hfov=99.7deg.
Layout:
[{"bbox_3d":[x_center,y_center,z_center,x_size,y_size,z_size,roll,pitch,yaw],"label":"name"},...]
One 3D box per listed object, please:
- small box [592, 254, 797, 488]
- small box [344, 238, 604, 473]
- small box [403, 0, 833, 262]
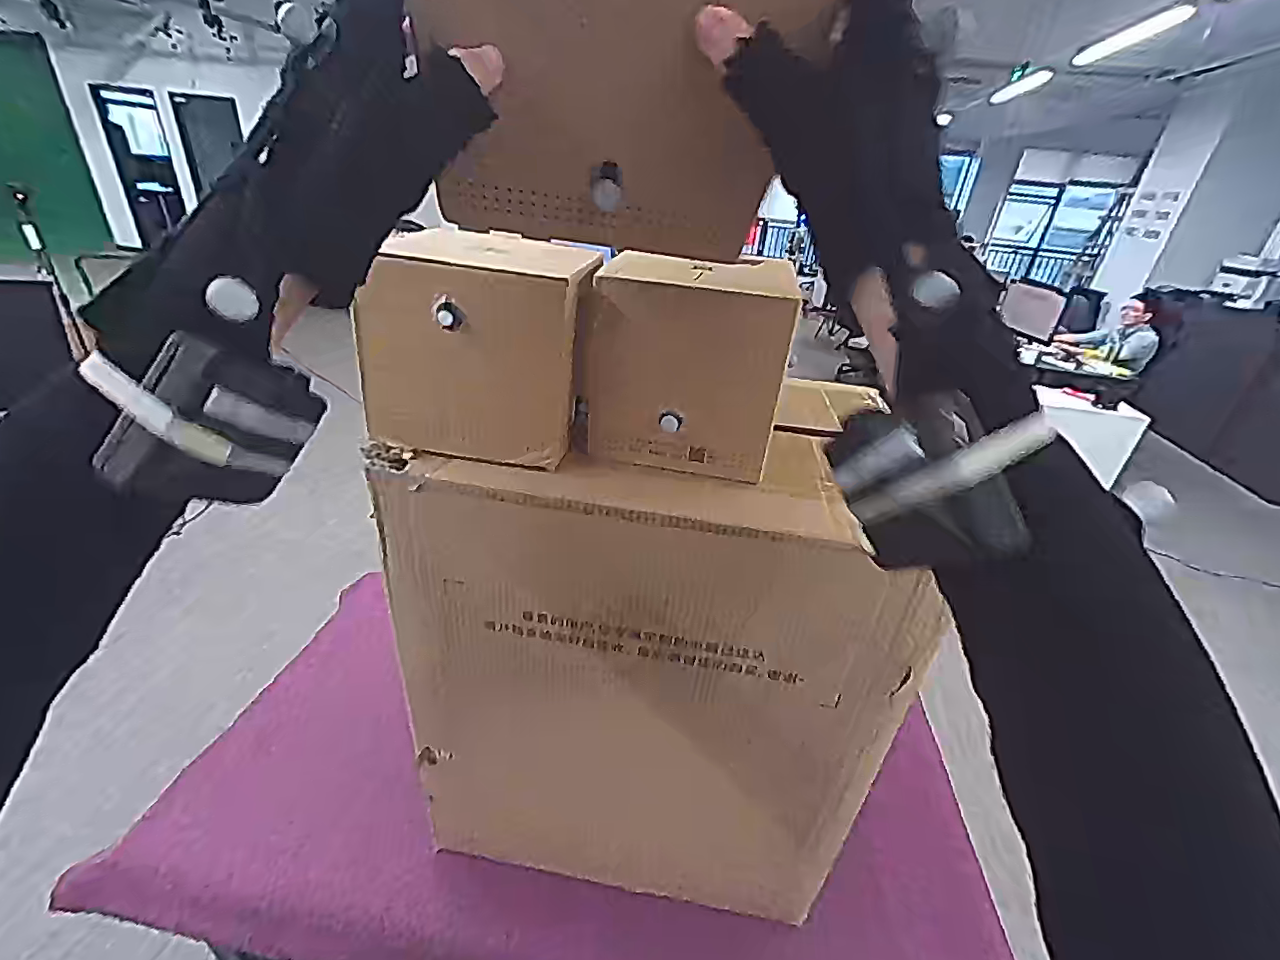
[{"bbox_3d":[0.051,-0.115,0.532,0.168,0.176,0.179,9,31,8],"label":"small box"},{"bbox_3d":[-0.140,-0.121,0.510,0.179,0.176,0.168,10,29,2],"label":"small box"},{"bbox_3d":[-0.017,-0.245,0.293,0.179,0.176,0.168,4,59,-9],"label":"small box"}]
